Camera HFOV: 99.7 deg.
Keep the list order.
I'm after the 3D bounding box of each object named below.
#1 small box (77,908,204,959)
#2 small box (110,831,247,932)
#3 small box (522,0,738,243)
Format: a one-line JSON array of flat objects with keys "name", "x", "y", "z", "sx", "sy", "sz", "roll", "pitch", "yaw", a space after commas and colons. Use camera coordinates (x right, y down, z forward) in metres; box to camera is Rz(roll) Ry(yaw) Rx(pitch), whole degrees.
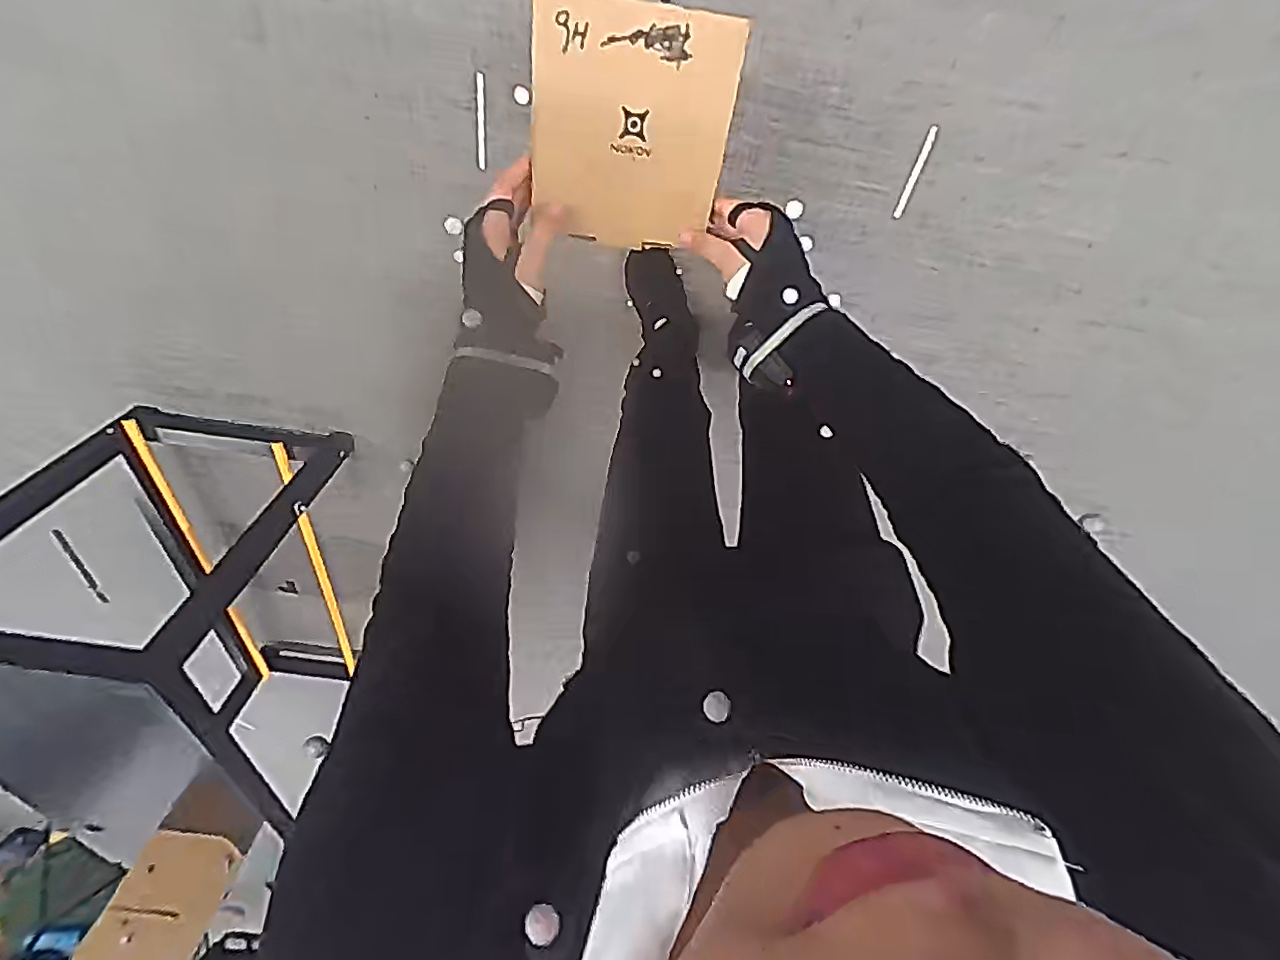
[{"name": "small box", "x": -1.162, "y": 1.116, "z": 1.241, "sx": 0.168, "sy": 0.176, "sz": 0.179, "roll": 8, "pitch": 130, "yaw": -2}, {"name": "small box", "x": -1.153, "y": 1.012, "z": 1.368, "sx": 0.179, "sy": 0.176, "sz": 0.168, "roll": 8, "pitch": 131, "yaw": -3}, {"name": "small box", "x": -0.025, "y": -0.354, "z": 0.518, "sx": 0.168, "sy": 0.176, "sz": 0.179, "roll": 1, "pitch": 133, "yaw": -11}]
